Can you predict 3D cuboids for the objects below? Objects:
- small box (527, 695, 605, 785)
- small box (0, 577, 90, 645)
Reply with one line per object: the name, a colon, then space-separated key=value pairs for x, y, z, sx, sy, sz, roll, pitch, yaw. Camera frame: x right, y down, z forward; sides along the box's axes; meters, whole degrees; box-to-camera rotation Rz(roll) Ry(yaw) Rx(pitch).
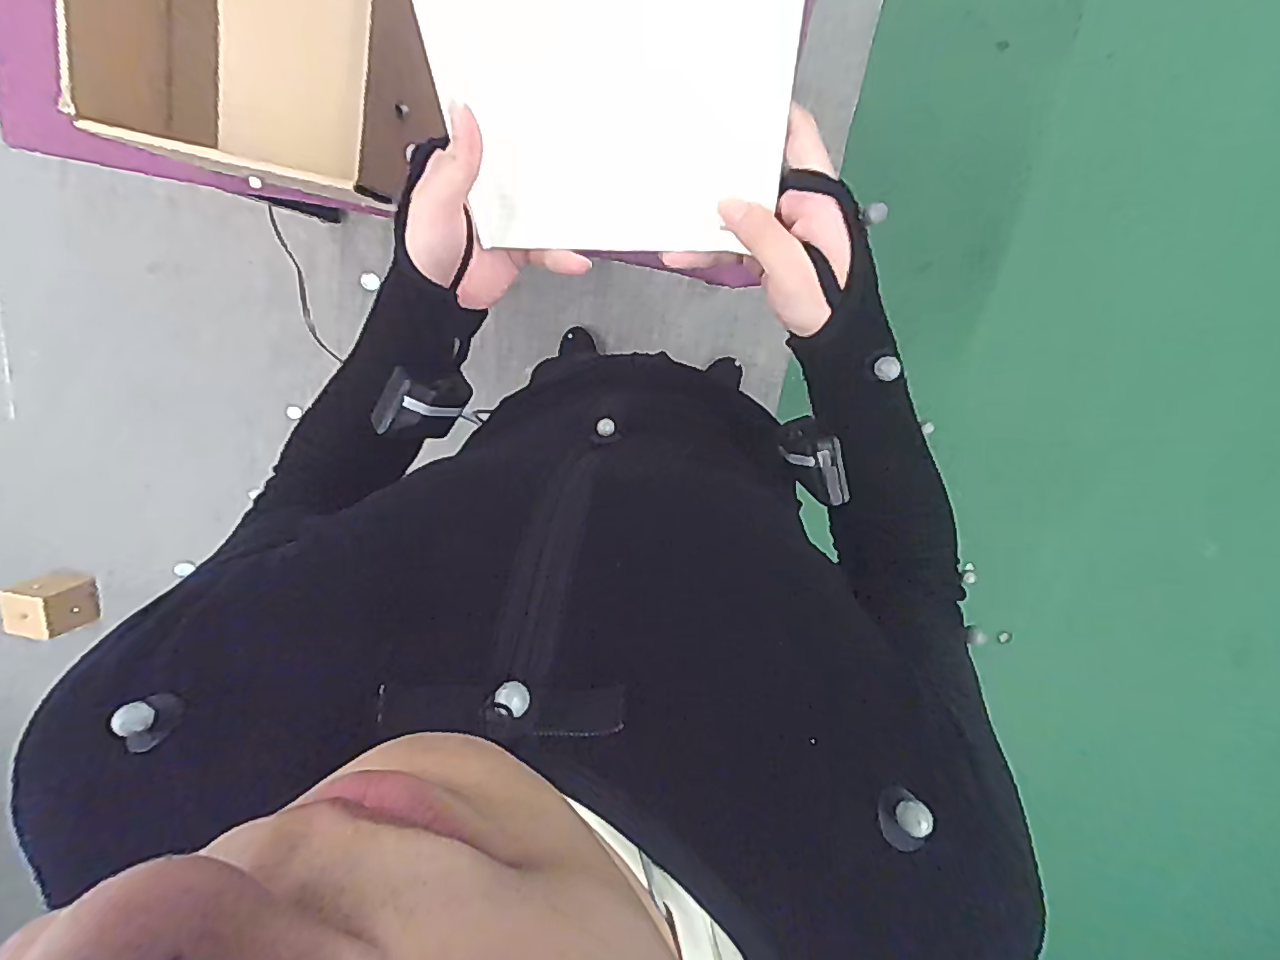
small box: x=-0.237 y=0.855 z=1.793 sx=0.168 sy=0.176 sz=0.179 roll=-42 pitch=94 yaw=15
small box: x=-2.118 y=0.460 z=1.925 sx=0.179 sy=0.176 sz=0.168 roll=9 pitch=104 yaw=5
